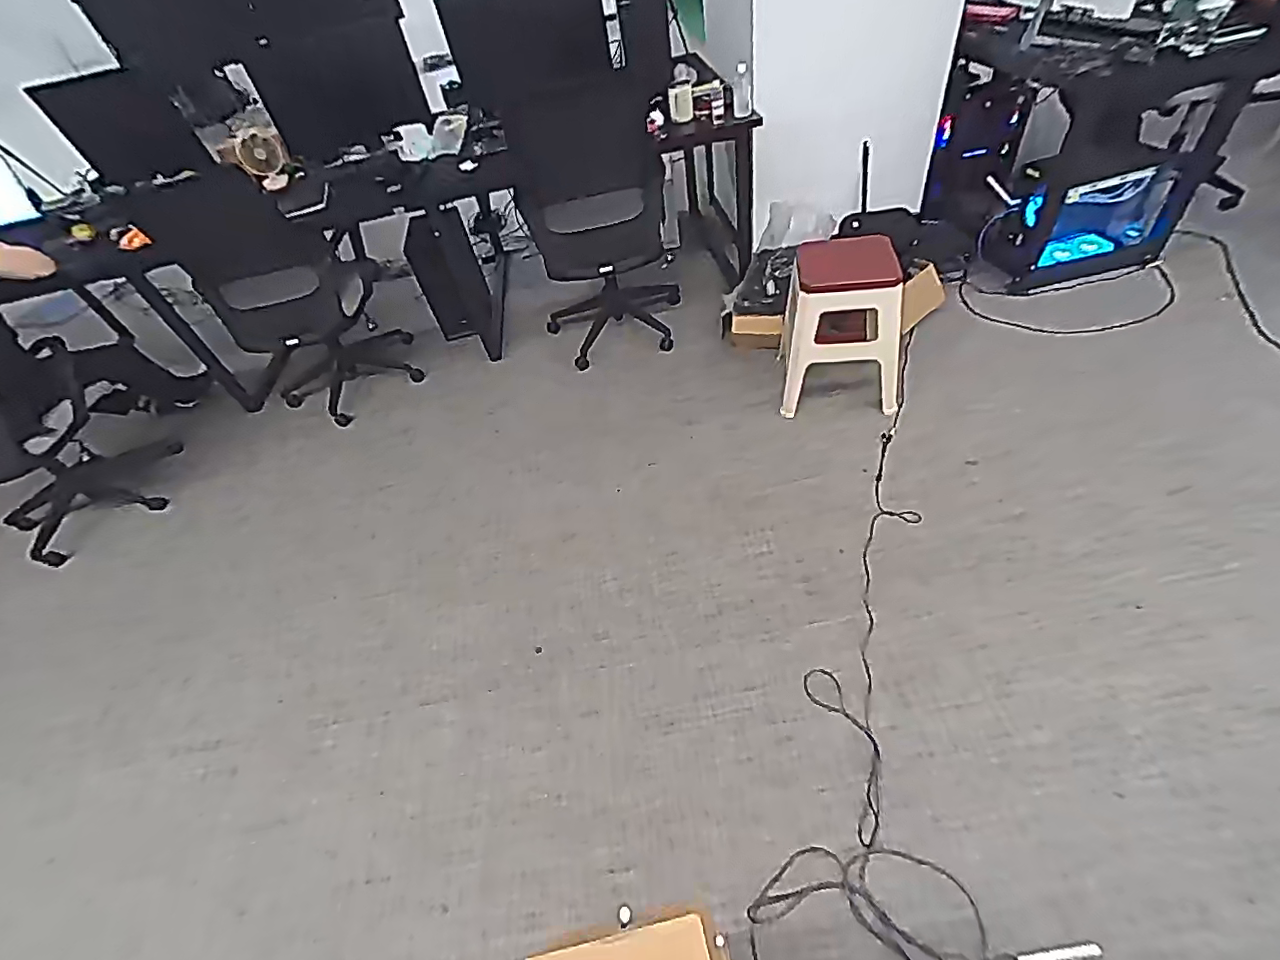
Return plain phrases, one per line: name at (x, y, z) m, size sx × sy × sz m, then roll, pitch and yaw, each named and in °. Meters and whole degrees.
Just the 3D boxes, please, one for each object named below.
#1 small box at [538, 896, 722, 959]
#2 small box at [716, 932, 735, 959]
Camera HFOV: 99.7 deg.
small box at (0.004, 0.532, 0.524) m, size 0.179 × 0.176 × 0.168 m, roll -15°, pitch 58°, yaw -1°
small box at (0.066, 0.778, 0.779) m, size 0.179 × 0.176 × 0.168 m, roll -16°, pitch 47°, yaw 0°
